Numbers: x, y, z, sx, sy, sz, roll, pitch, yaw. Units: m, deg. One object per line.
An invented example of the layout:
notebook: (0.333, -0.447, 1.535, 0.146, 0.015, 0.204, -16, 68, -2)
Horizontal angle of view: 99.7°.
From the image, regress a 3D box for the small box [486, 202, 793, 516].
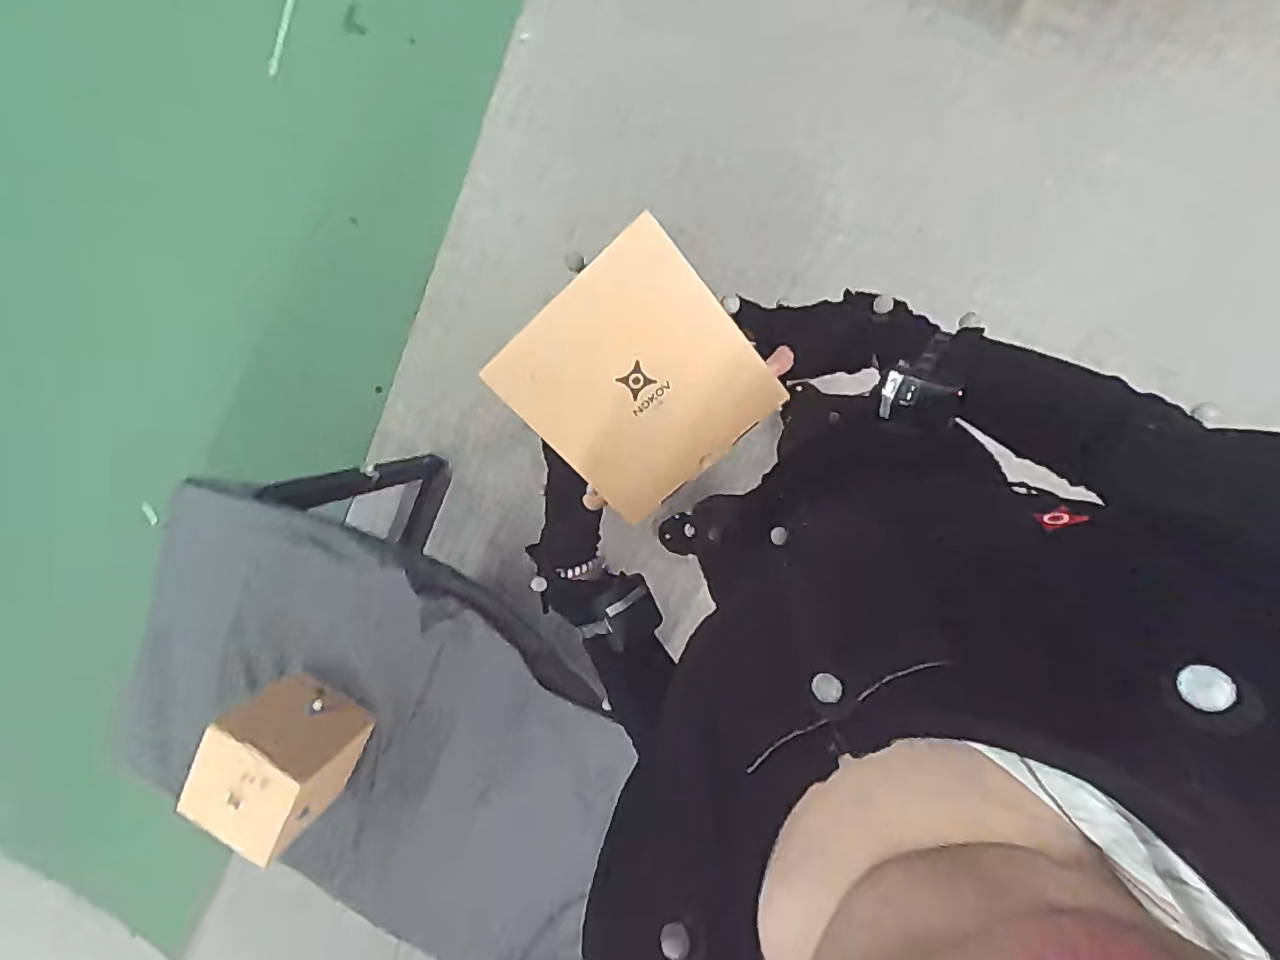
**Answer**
small box: (-0.006, -0.107, 0.474, 0.168, 0.176, 0.179, -40, 112, 10)

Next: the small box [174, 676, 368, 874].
small box: (-0.573, 0.455, 0.860, 0.168, 0.176, 0.179, 30, 102, 4)
